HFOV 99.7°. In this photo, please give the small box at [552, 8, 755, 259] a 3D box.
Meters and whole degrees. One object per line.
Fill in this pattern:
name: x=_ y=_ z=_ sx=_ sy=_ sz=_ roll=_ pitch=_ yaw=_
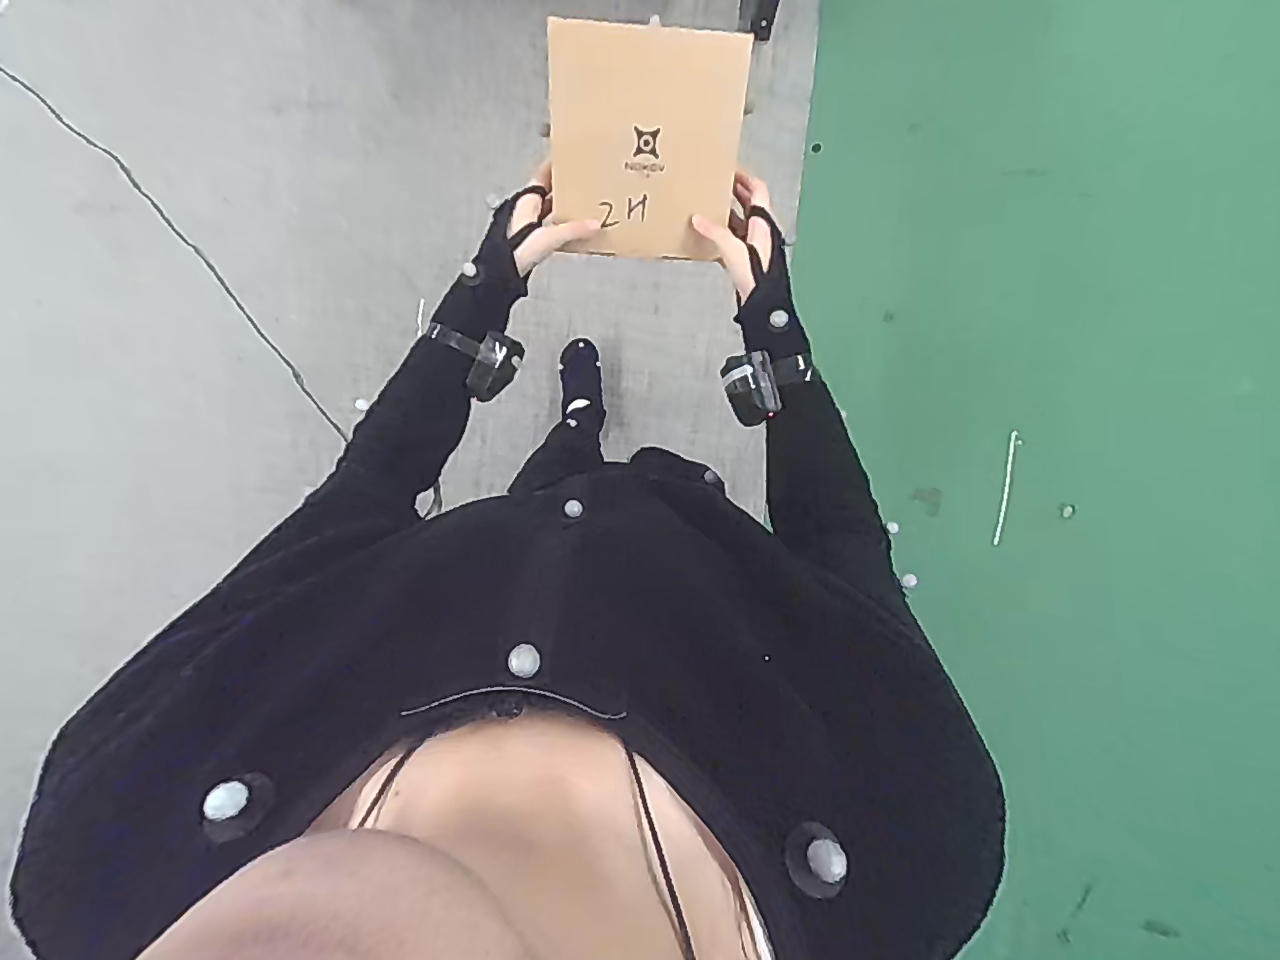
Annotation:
small box: x=0.003 y=-0.334 z=0.538 sx=0.168 sy=0.176 sz=0.179 roll=3 pitch=124 yaw=-3
